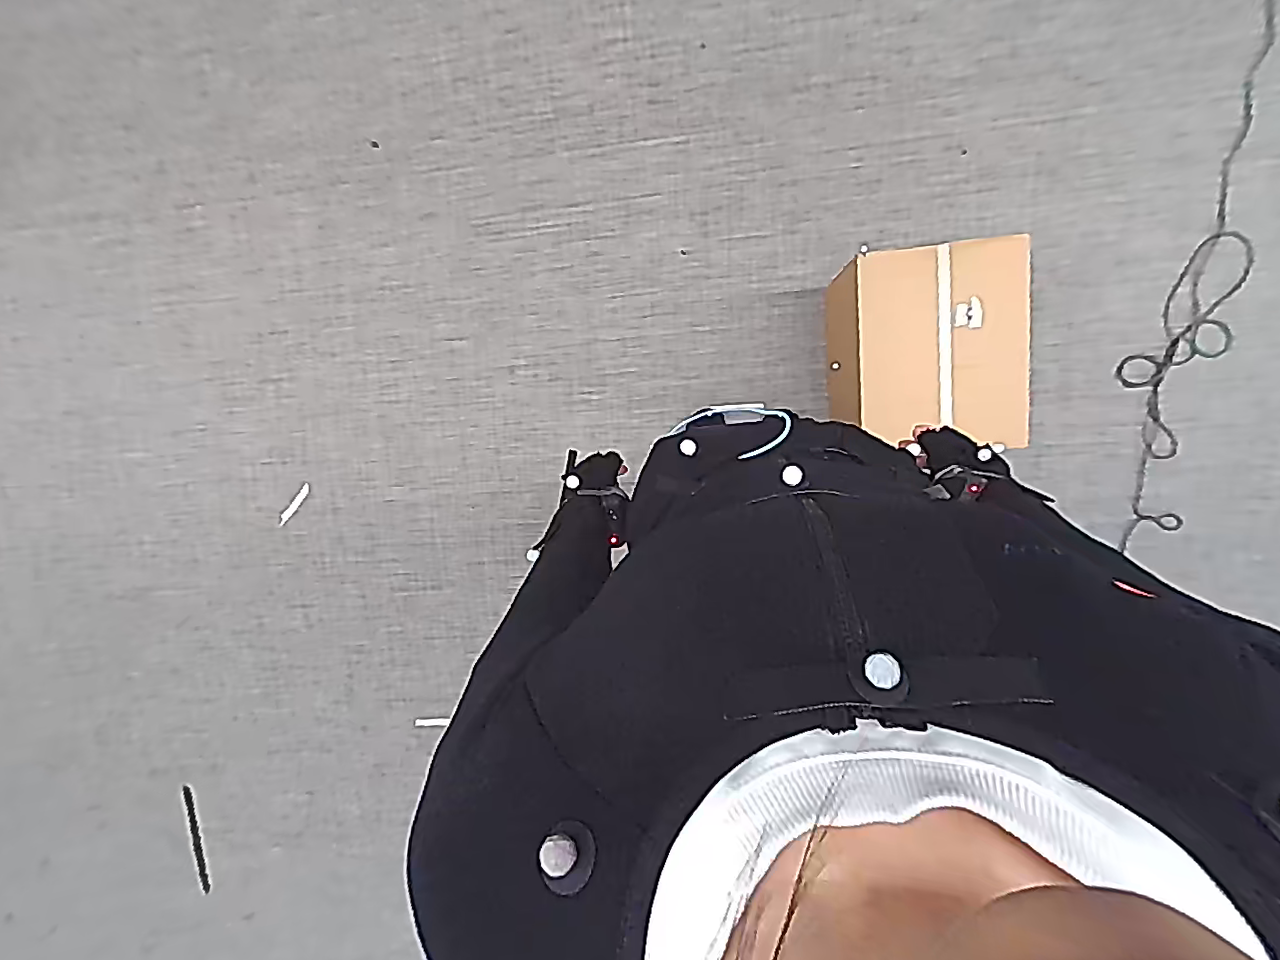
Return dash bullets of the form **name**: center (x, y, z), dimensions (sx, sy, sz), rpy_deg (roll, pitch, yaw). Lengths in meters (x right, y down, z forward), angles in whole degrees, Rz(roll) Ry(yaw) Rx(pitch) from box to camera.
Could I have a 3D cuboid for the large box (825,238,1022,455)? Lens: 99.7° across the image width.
- **large box**: center (0.612, -0.273, 1.223), dimensions (0.320, 0.320, 0.408), rpy_deg (-4, 96, 7)
